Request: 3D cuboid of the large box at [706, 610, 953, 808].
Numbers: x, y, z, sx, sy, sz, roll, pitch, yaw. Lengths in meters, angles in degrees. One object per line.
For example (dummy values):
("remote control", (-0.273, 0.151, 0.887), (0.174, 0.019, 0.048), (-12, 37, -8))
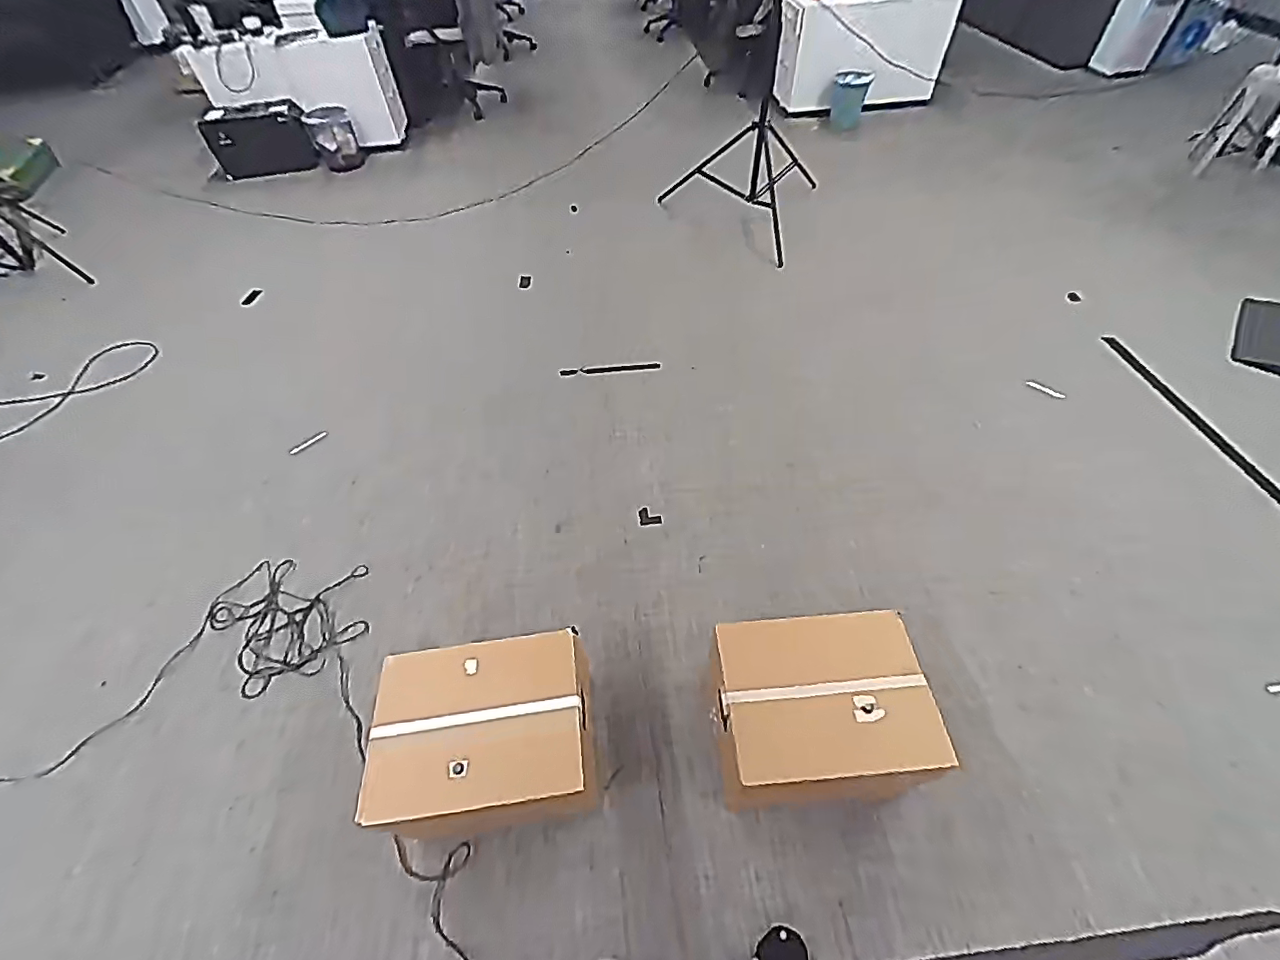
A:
("large box", (0.377, 0.513, 1.204), (0.408, 0.320, 0.320), (-4, 52, -2))
